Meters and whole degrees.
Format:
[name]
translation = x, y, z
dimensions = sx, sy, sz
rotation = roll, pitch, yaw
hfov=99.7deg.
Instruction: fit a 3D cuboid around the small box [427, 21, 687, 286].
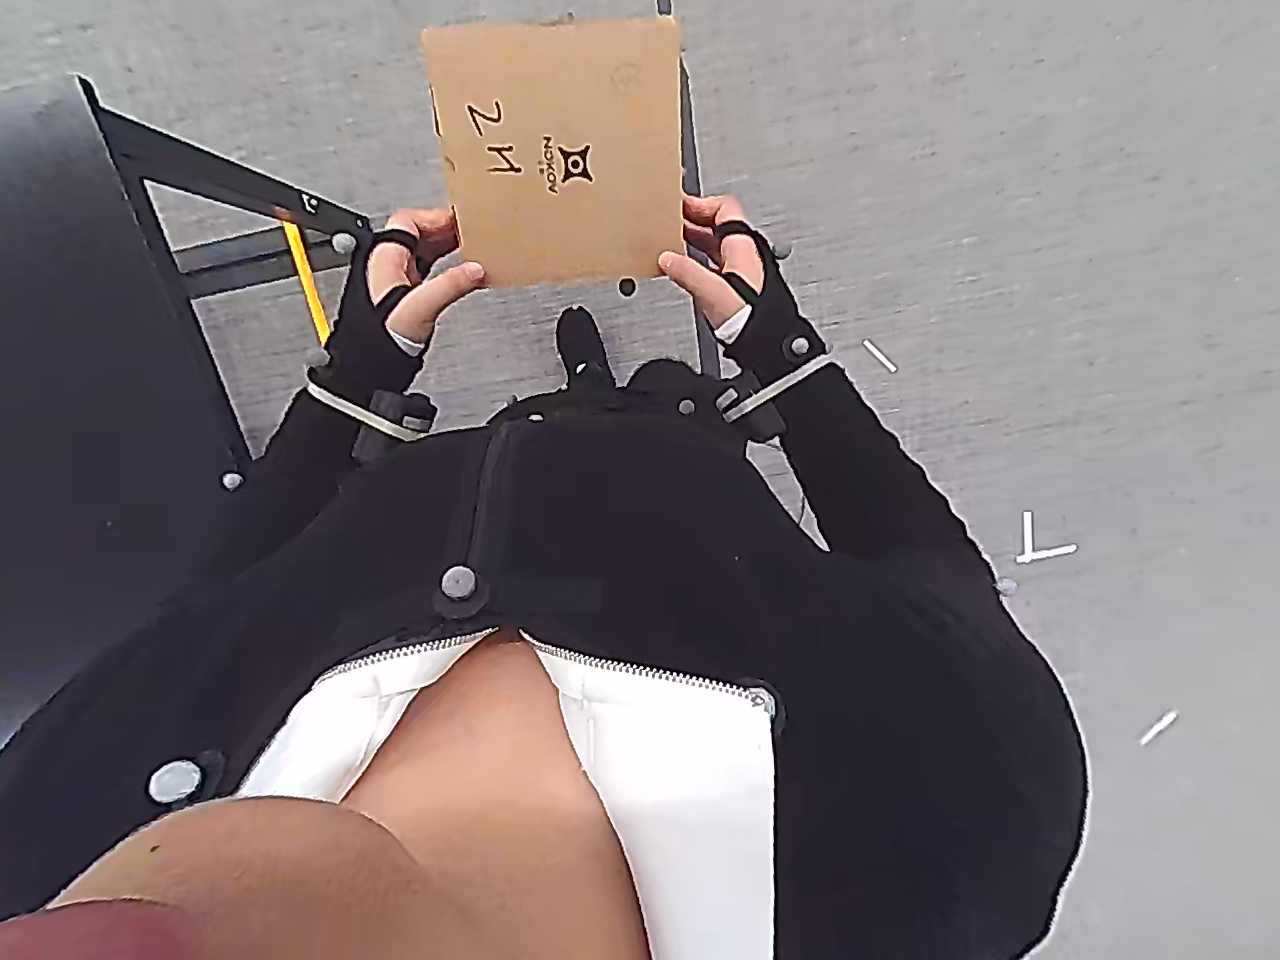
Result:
[small box]
translation = -0.058, -0.267, 0.466
dimensions = 0.179, 0.176, 0.168
rotation = -4, 116, -2
